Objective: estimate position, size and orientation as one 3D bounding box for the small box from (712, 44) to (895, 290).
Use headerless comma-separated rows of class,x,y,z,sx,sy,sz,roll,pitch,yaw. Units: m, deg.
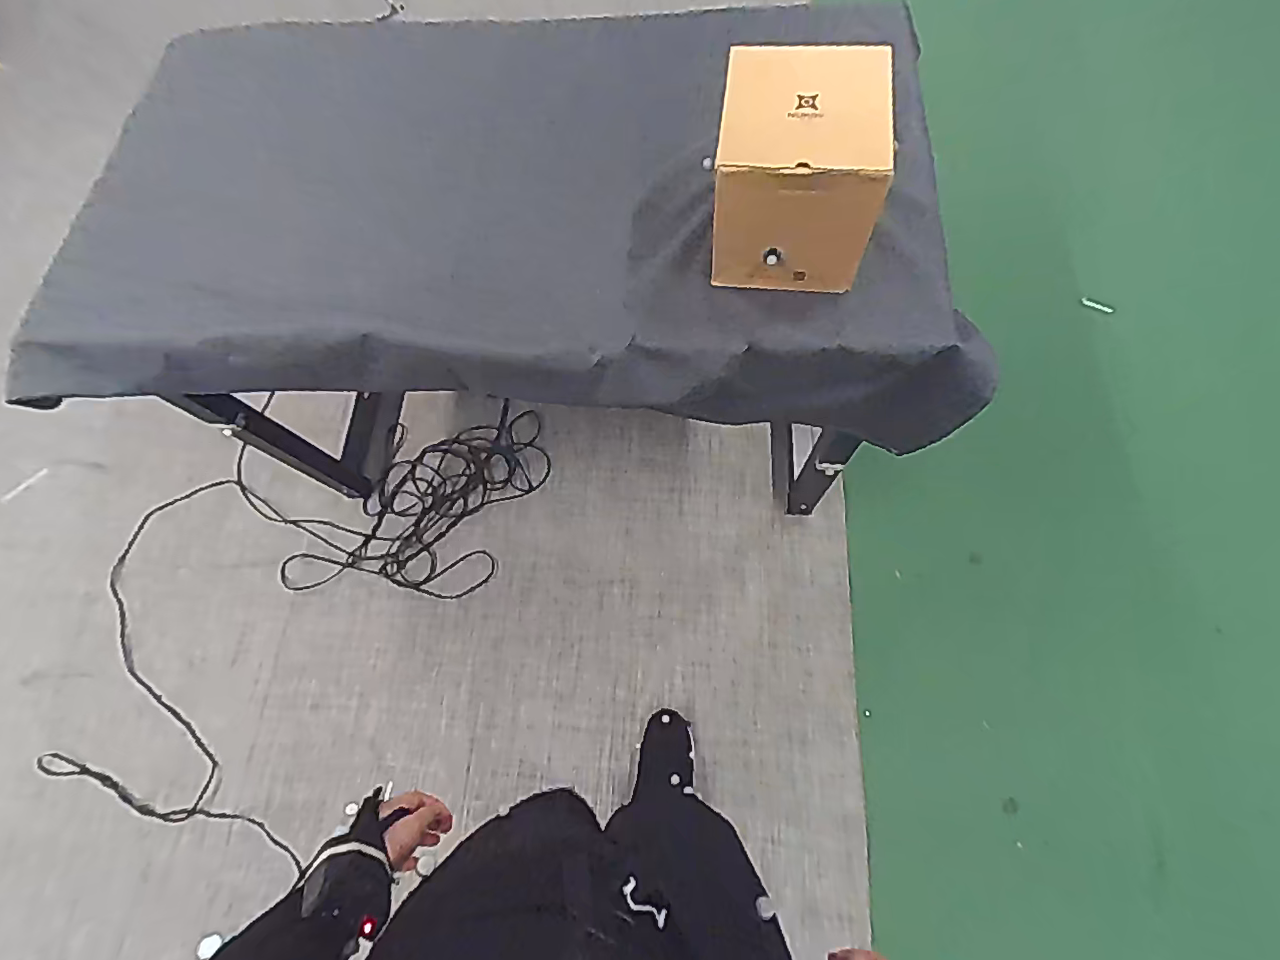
small box,0.172,-0.345,0.611,0.168,0.176,0.179,5,71,7
